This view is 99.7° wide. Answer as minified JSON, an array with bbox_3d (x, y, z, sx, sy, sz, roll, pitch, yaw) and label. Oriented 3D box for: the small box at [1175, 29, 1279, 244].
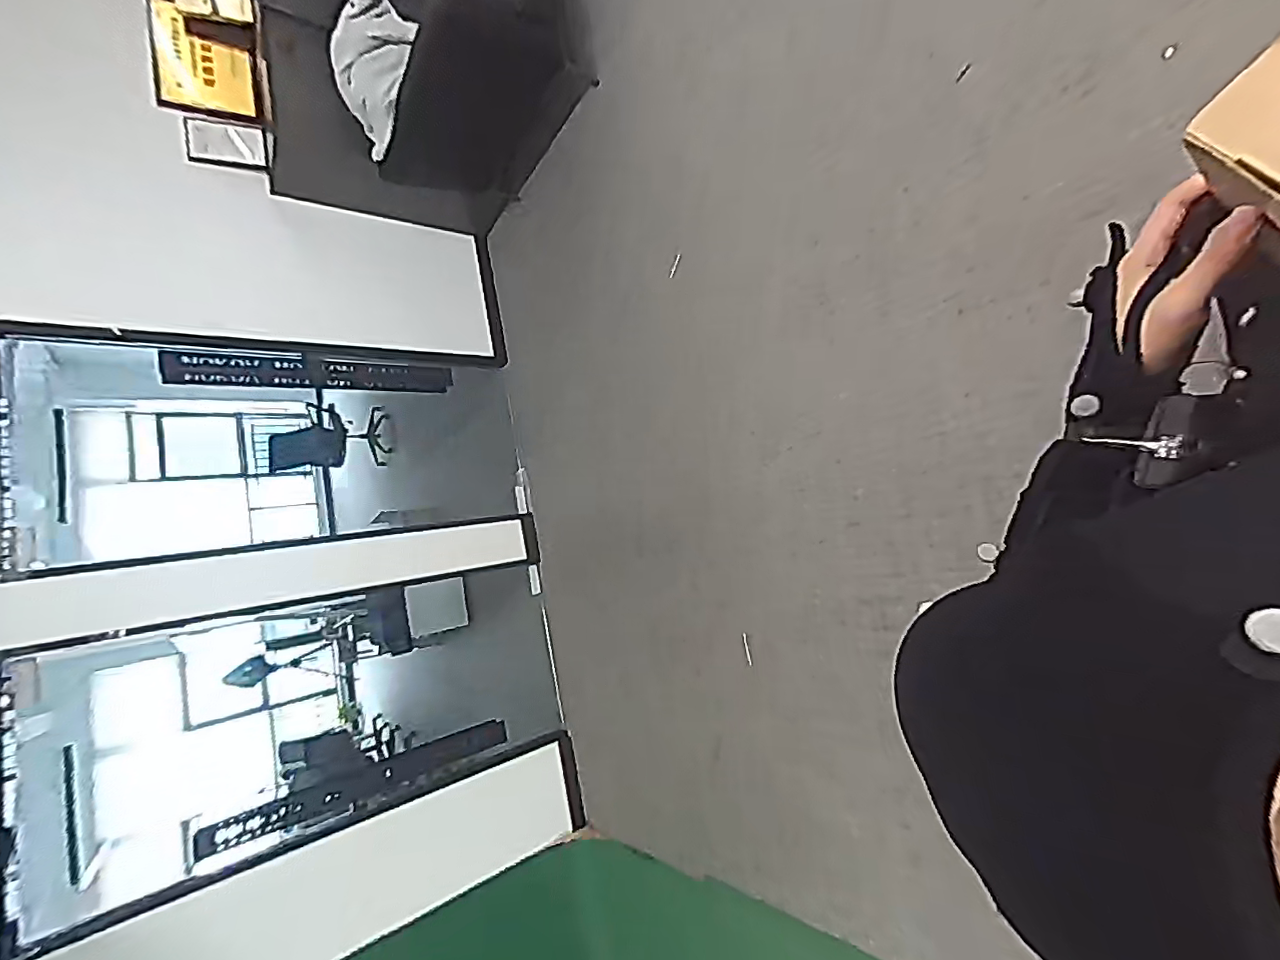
[{"bbox_3d":[0.401,-0.160,0.221,0.179,0.176,0.168,-53,47,41],"label":"small box"}]
